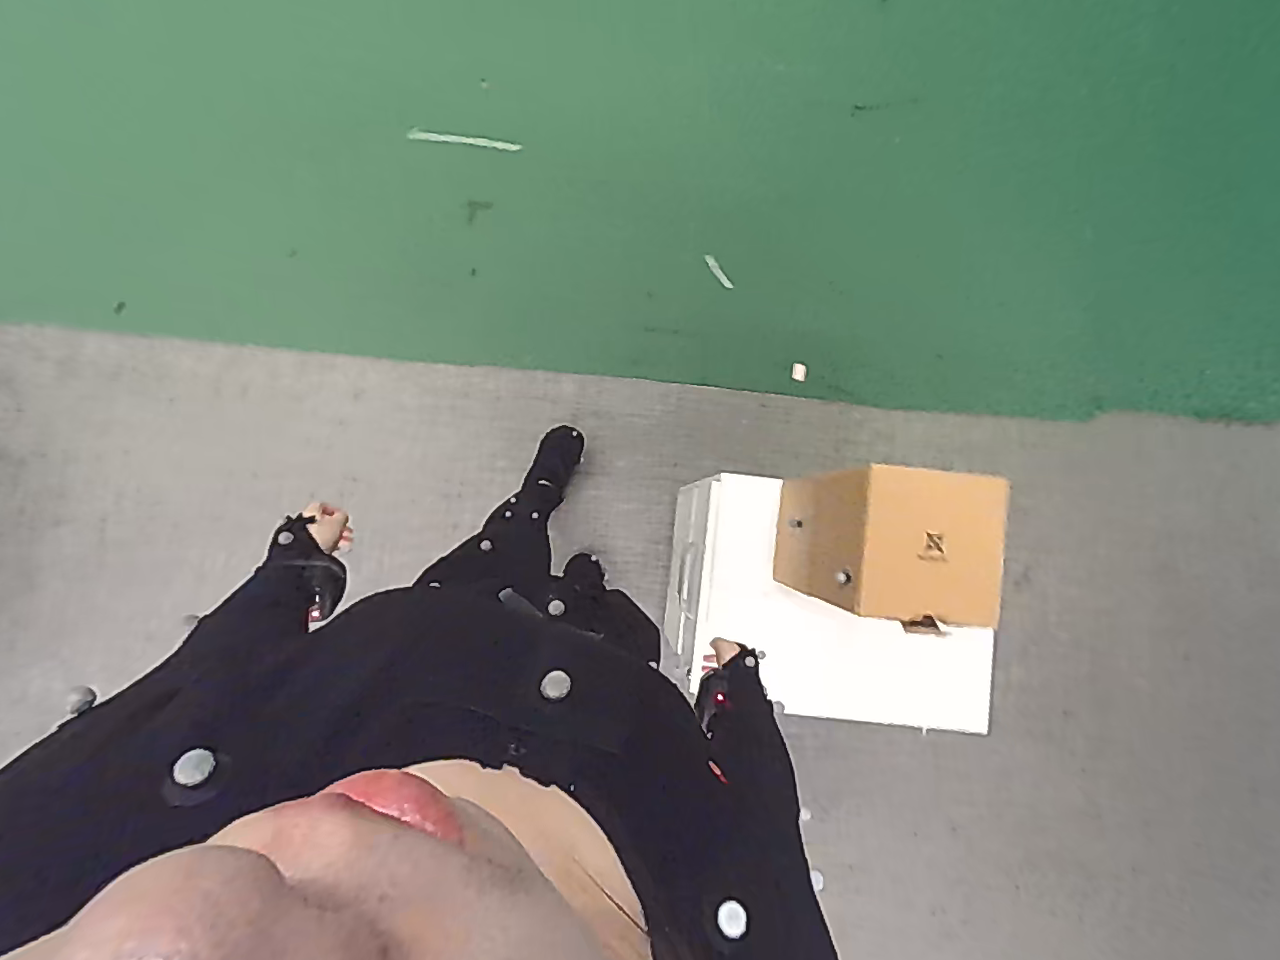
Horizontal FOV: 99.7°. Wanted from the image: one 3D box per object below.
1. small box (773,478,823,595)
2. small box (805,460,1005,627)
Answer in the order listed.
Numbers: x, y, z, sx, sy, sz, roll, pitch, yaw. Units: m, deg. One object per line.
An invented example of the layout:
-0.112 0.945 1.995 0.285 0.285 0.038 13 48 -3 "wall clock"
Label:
0.319 0.090 0.854 0.168 0.176 0.179 7 86 -3 "small box"
0.324 0.076 0.691 0.168 0.176 0.179 7 88 -4 "small box"
